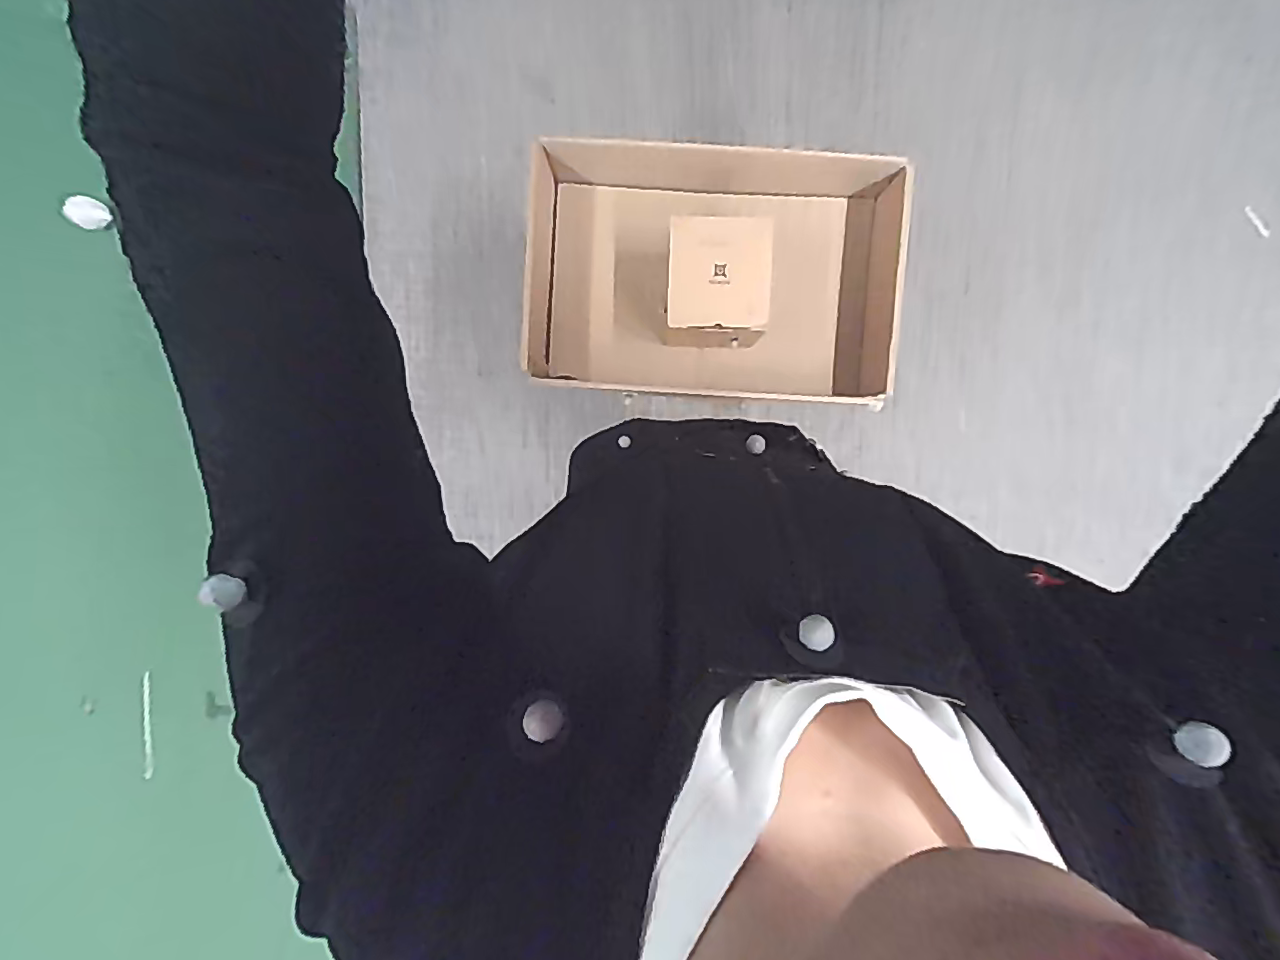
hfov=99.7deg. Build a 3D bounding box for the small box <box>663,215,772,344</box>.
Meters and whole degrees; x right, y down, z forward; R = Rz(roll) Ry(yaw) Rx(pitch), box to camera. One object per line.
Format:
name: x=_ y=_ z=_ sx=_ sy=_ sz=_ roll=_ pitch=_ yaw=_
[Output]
small box: x=0.127 y=-0.338 z=0.943 sx=0.168 sy=0.176 sz=0.179 roll=1 pitch=93 yaw=0
